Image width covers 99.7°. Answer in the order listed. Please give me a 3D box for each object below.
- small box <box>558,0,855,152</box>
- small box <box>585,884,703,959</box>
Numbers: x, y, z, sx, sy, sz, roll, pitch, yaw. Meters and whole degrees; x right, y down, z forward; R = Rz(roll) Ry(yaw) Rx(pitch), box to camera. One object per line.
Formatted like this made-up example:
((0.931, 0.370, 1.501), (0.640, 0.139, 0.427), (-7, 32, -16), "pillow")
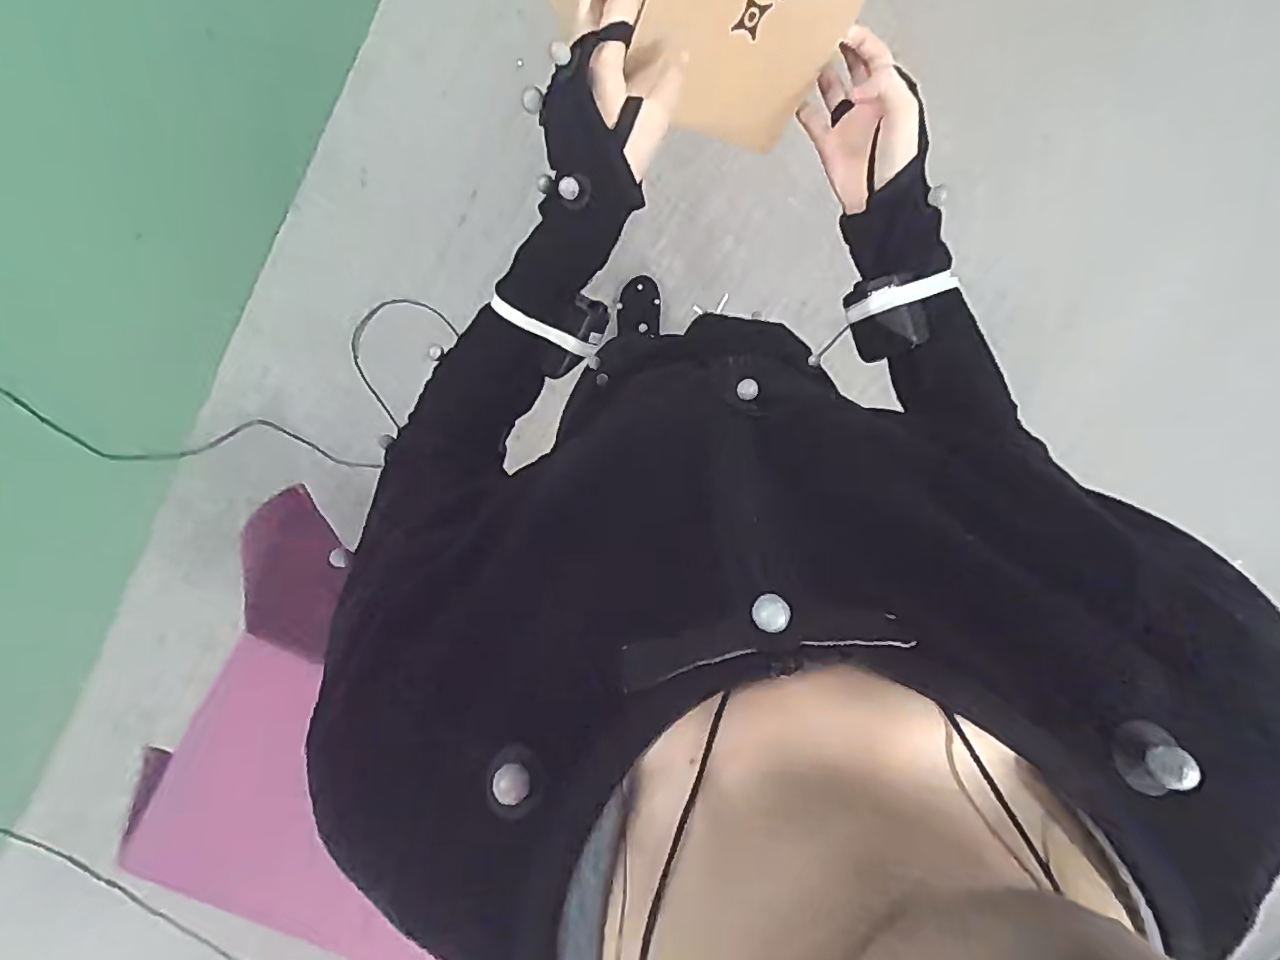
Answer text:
((0.046, -0.397, 0.405), (0.168, 0.176, 0.179), (-5, 151, -32), "small box")
((0.002, 0.874, 0.964), (0.168, 0.176, 0.179), (27, 107, -8), "small box")
